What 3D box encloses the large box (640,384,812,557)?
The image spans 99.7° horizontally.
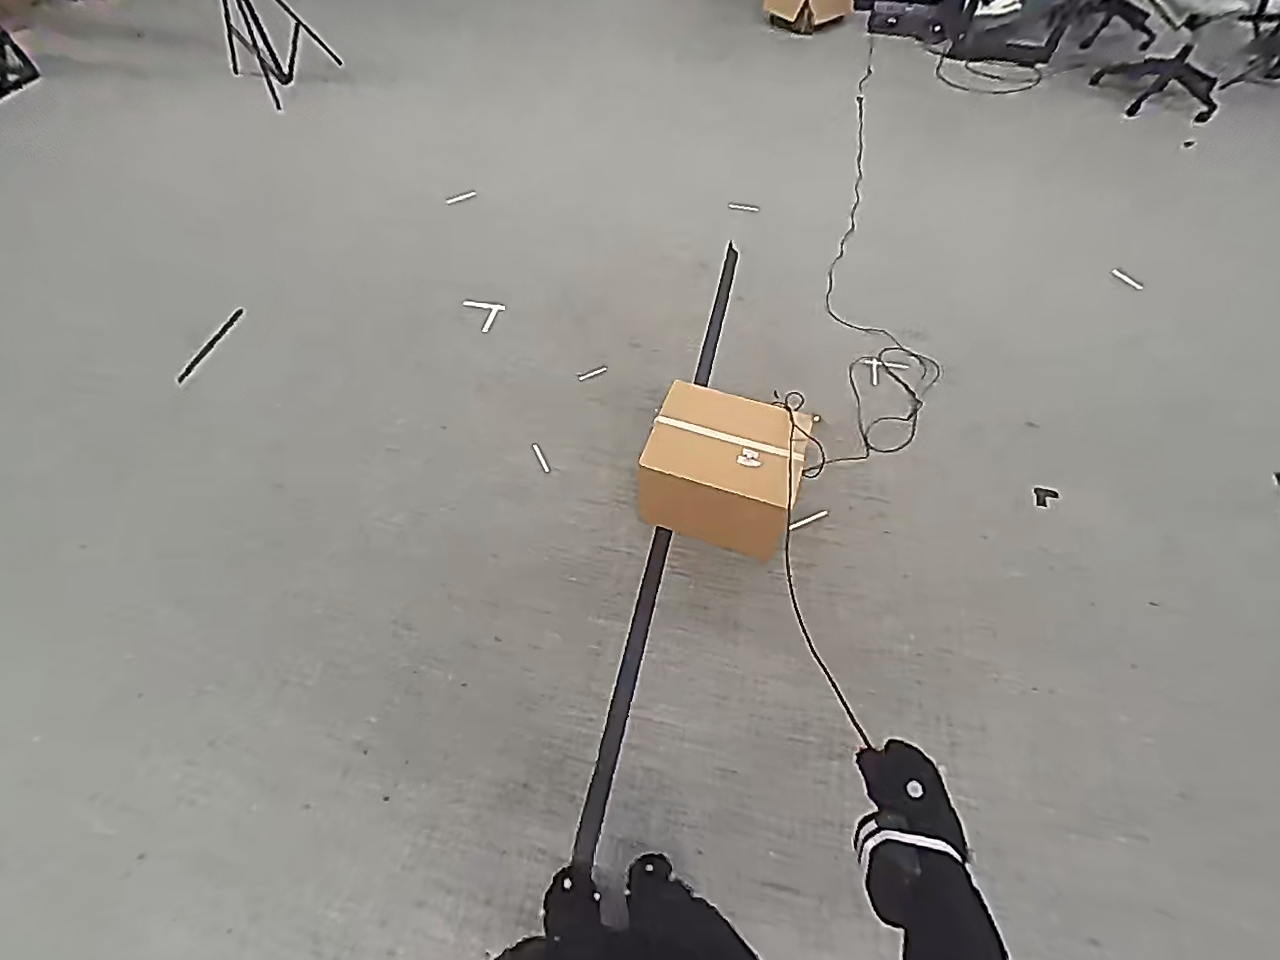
[{"bbox_3d":[0.235,-0.023,1.566,0.408,0.320,0.320,17,60,10],"label":"large box"}]
